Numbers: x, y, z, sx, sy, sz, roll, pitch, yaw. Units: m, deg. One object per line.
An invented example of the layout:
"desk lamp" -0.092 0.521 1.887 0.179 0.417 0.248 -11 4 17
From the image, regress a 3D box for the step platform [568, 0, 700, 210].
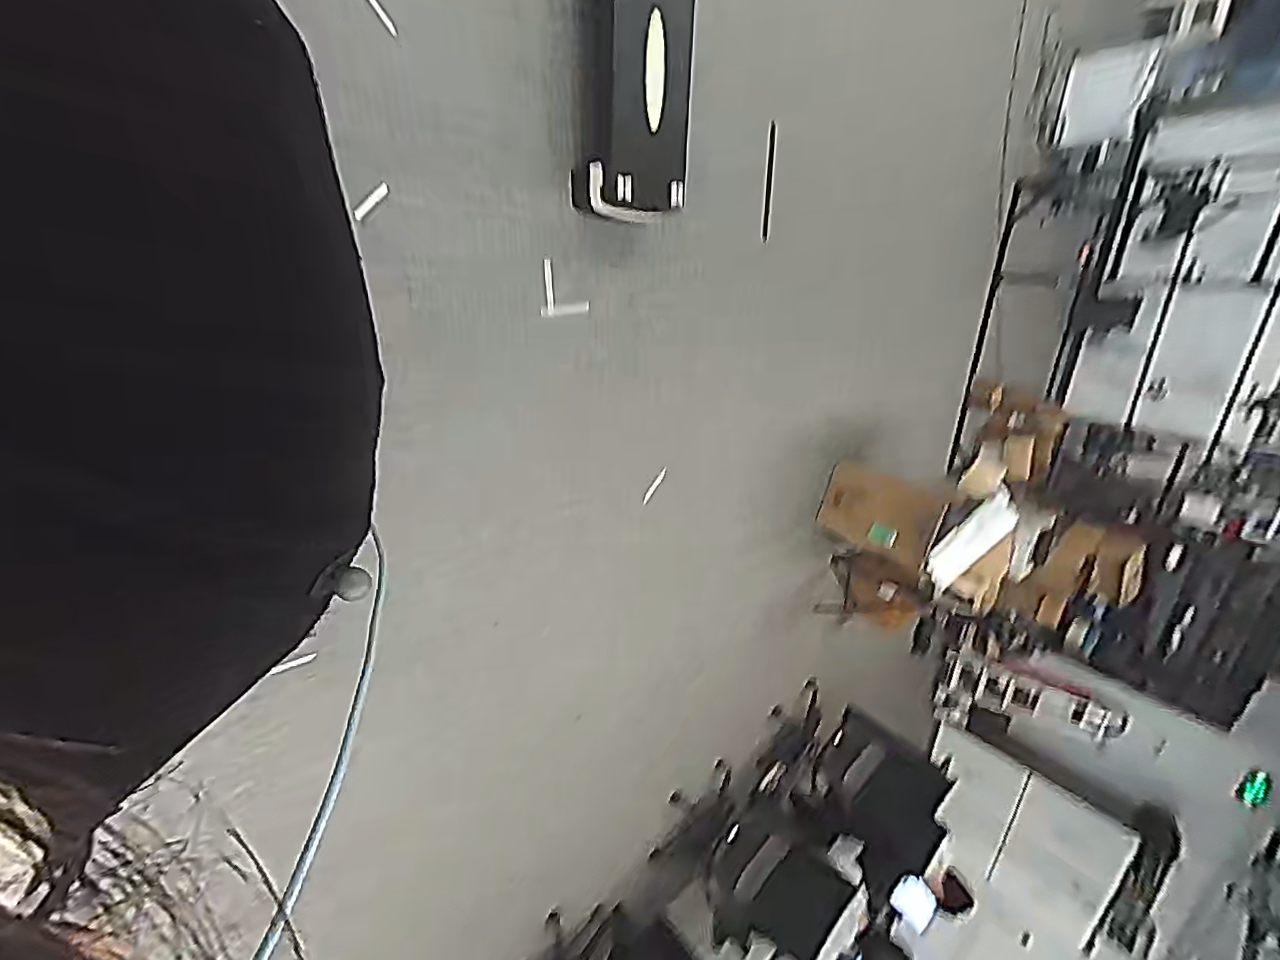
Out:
"step platform" -0.013 -1.124 1.469 0.286 0.204 0.684 -10 112 -38
